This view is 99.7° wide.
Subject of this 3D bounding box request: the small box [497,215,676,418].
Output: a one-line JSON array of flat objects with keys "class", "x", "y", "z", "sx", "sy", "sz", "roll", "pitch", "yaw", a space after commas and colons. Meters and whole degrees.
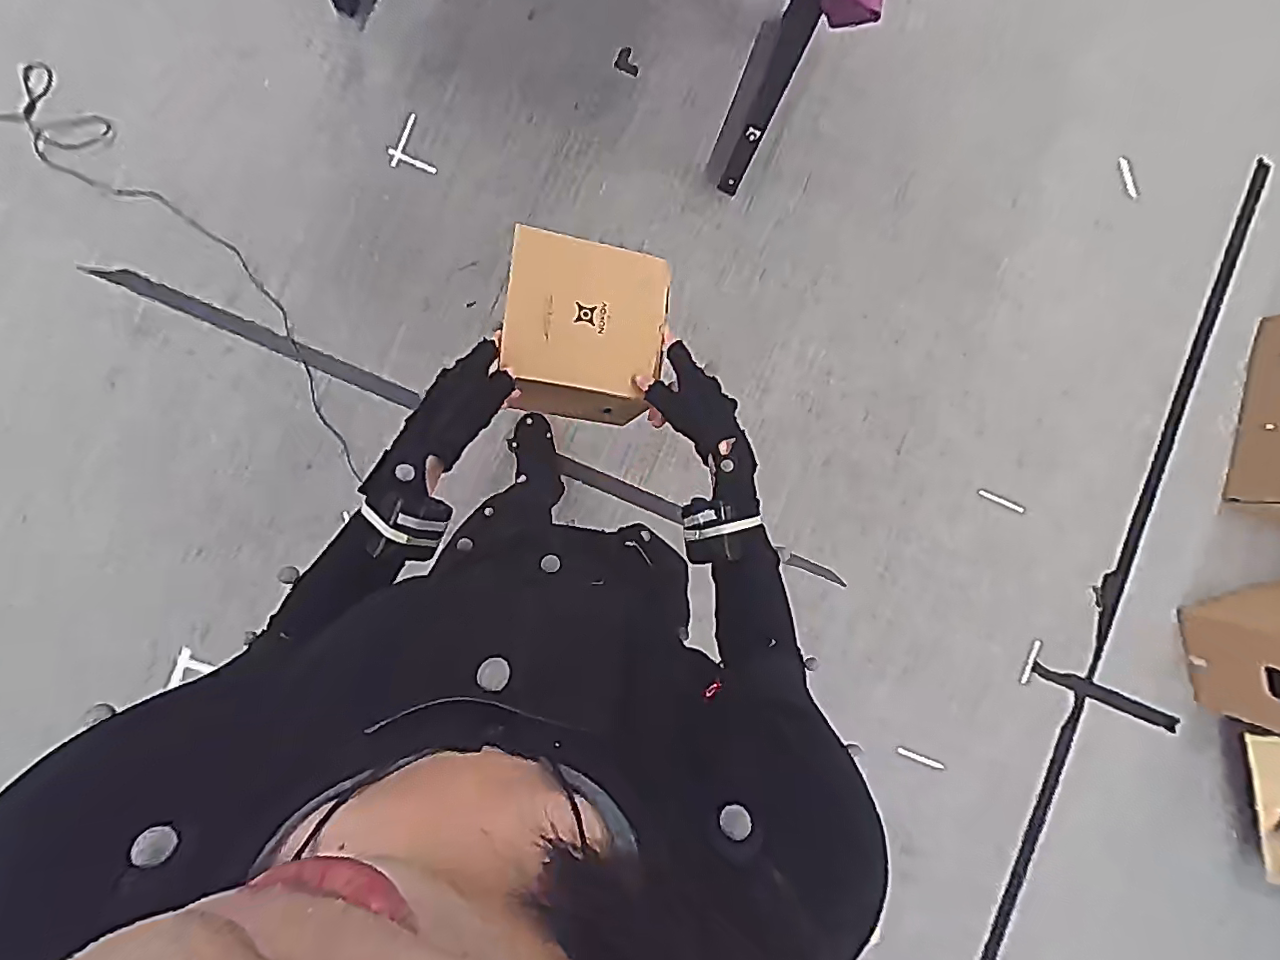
[{"class": "small box", "x": -0.071, "y": -0.176, "z": 0.645, "sx": 0.179, "sy": 0.176, "sz": 0.168, "roll": 7, "pitch": 83, "yaw": -14}]
